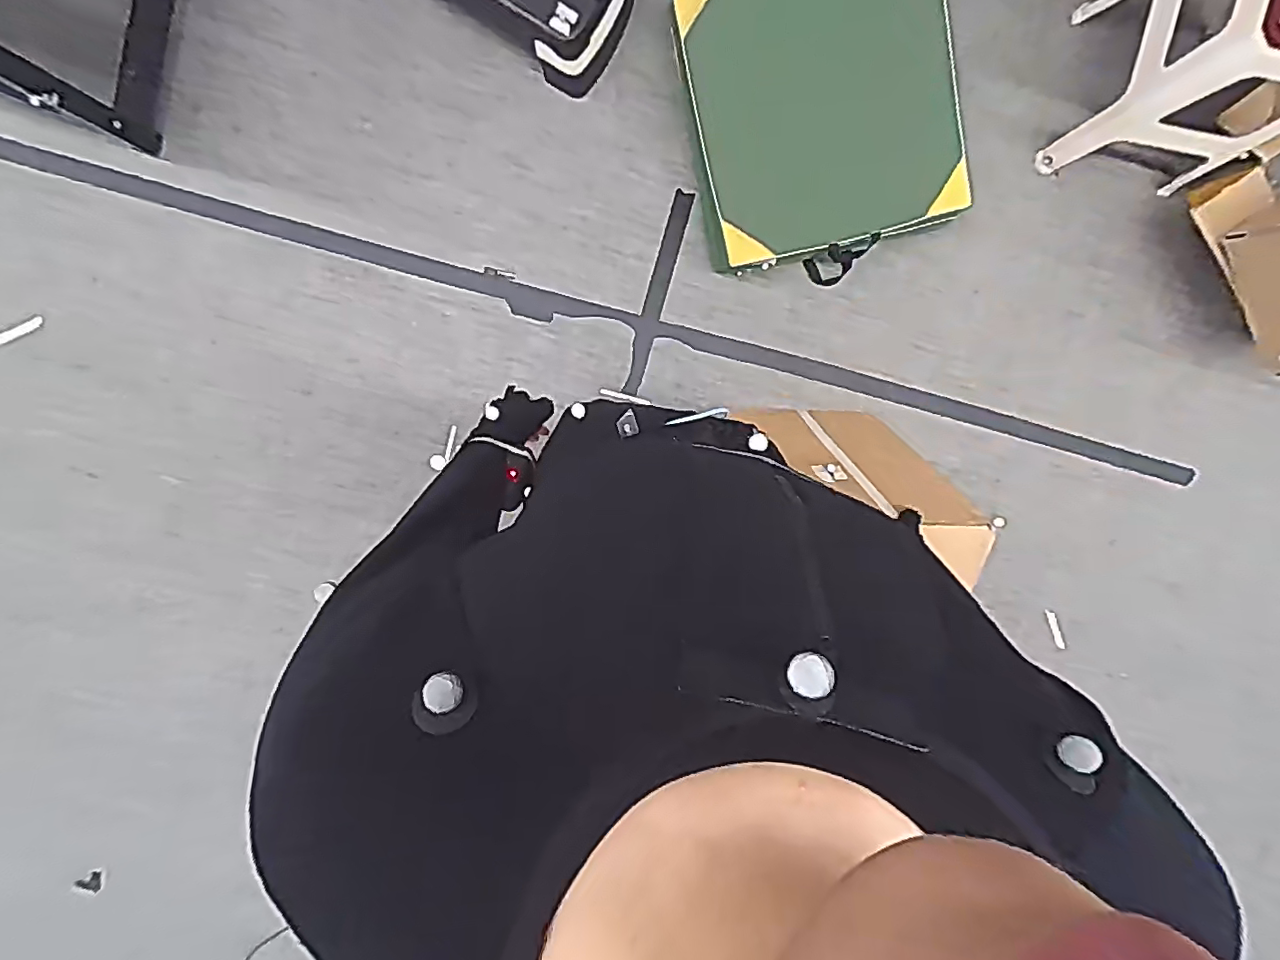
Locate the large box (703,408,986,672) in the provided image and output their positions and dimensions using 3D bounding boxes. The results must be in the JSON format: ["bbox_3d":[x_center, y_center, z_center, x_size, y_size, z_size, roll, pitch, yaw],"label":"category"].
[{"bbox_3d":[0.321,0.092,1.006,0.320,0.408,0.320,0,122,-6],"label":"large box"}]
